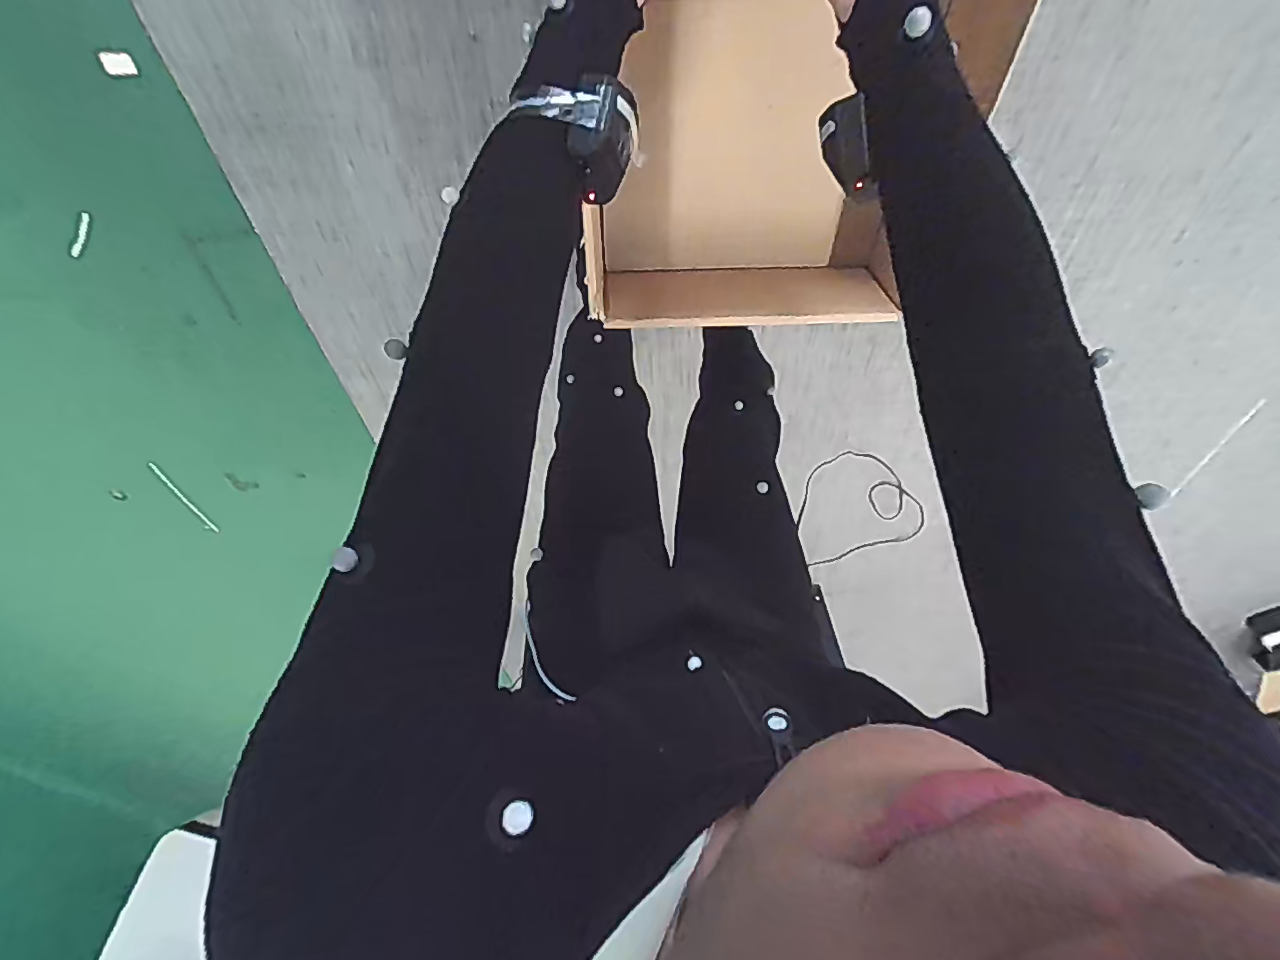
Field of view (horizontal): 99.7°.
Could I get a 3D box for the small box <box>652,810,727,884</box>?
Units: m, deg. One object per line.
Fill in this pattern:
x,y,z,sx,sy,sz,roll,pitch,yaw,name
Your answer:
0.147,1.152,1.698,0.168,0.176,0.179,20,132,-22,small box

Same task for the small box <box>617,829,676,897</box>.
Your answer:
0.018,1.328,1.883,0.168,0.176,0.179,-16,135,12,small box
